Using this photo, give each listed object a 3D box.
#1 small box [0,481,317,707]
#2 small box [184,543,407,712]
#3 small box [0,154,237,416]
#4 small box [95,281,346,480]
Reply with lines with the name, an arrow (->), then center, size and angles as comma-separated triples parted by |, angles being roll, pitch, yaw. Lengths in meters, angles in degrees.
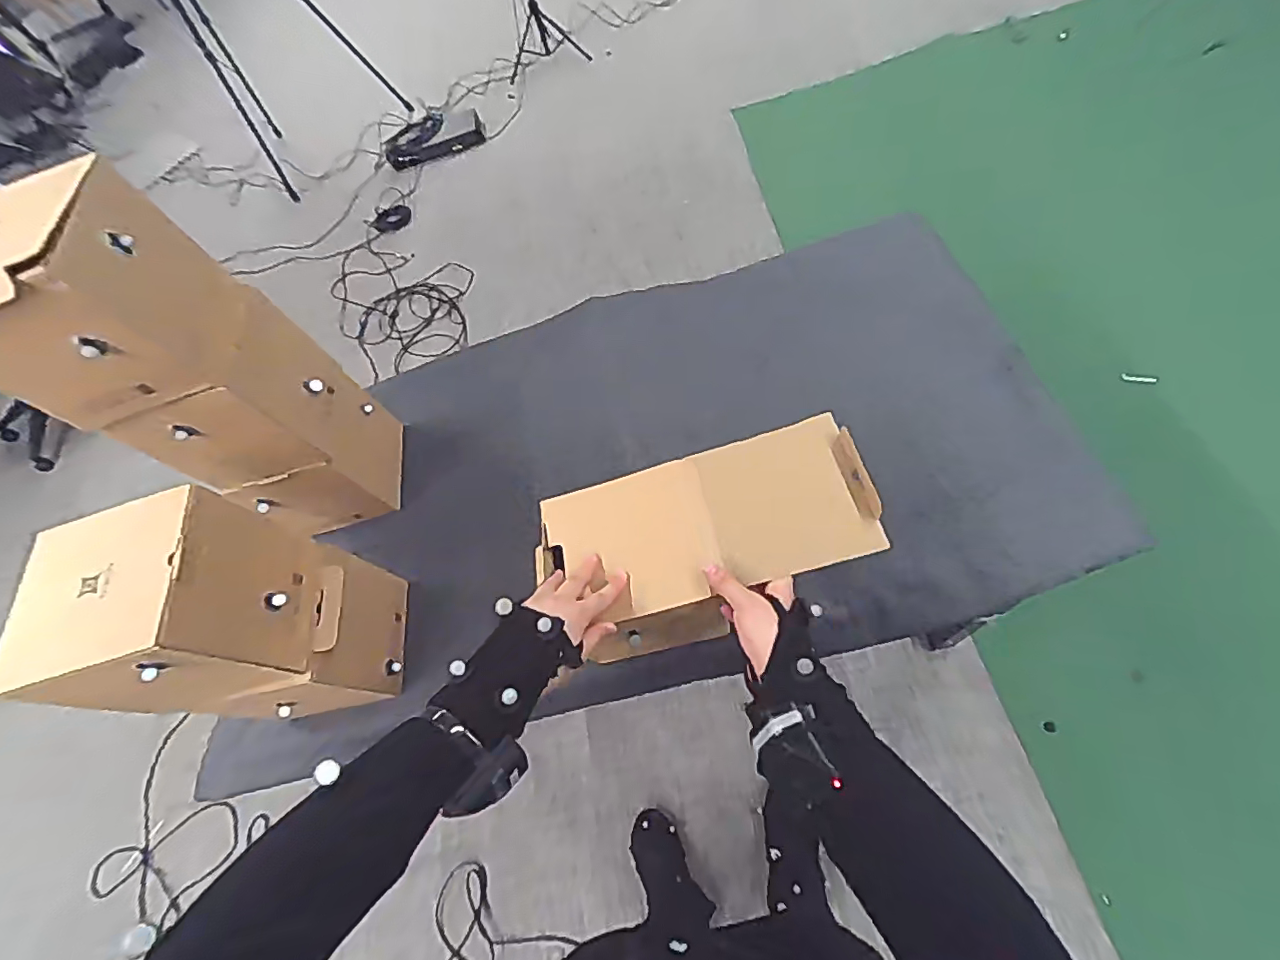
small box -> -0.481, 0.130, 0.570 | 0.179, 0.176, 0.168 | -17, 61, 4
small box -> -0.430, 0.200, 0.708 | 0.179, 0.176, 0.168 | -14, 61, 7
small box -> -0.564, -0.187, 0.561 | 0.168, 0.176, 0.179 | -17, 60, 3
small box -> -0.523, -0.117, 0.702 | 0.179, 0.176, 0.168 | -14, 62, 6
